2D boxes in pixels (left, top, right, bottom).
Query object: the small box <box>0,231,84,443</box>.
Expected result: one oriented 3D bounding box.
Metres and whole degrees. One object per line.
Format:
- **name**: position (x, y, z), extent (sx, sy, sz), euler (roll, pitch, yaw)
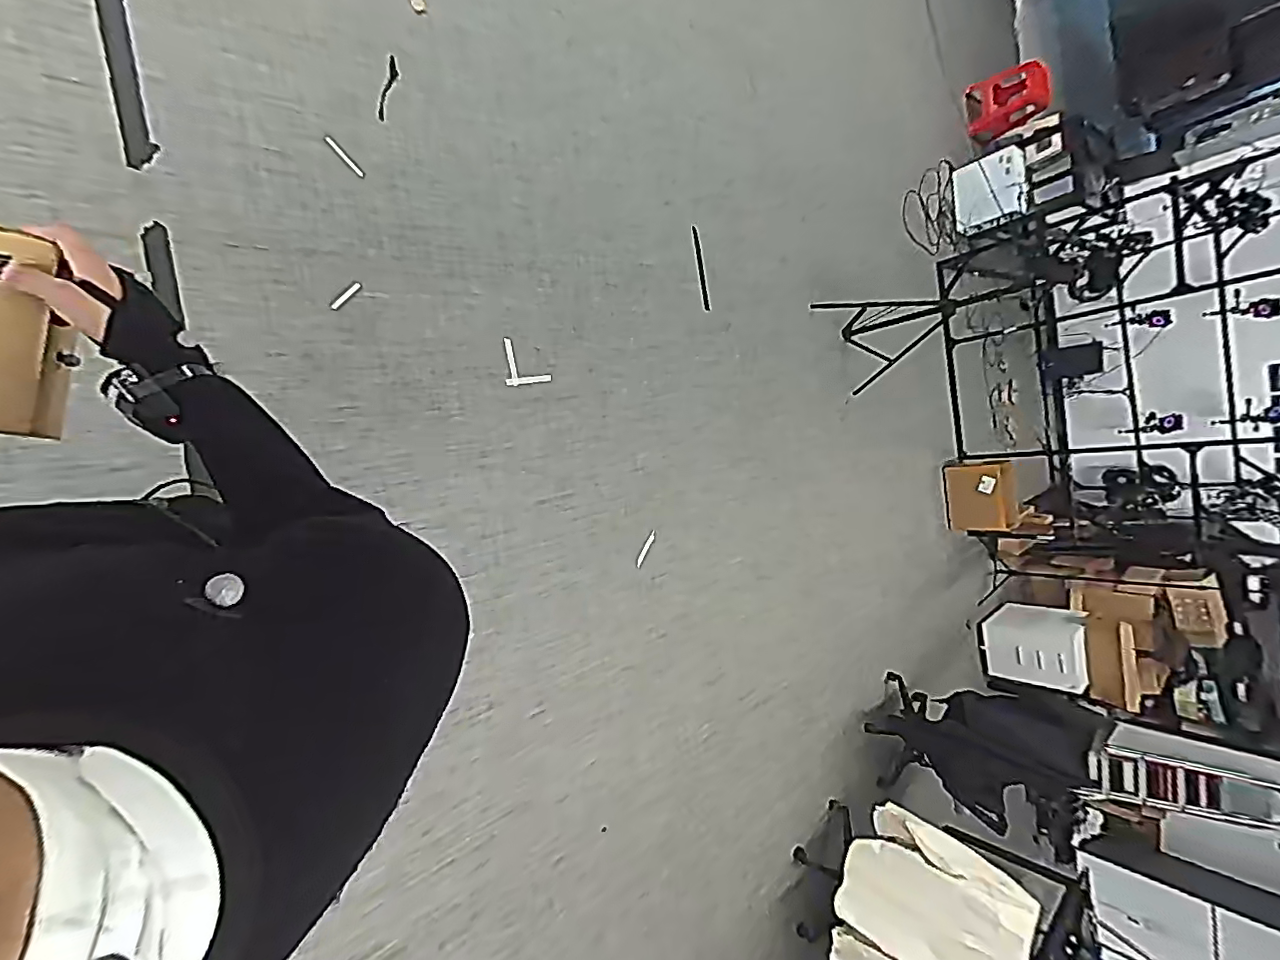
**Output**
- **small box**: position (-0.639, -0.133, 0.492), extent (0.168, 0.176, 0.179), euler (7, 87, -41)
